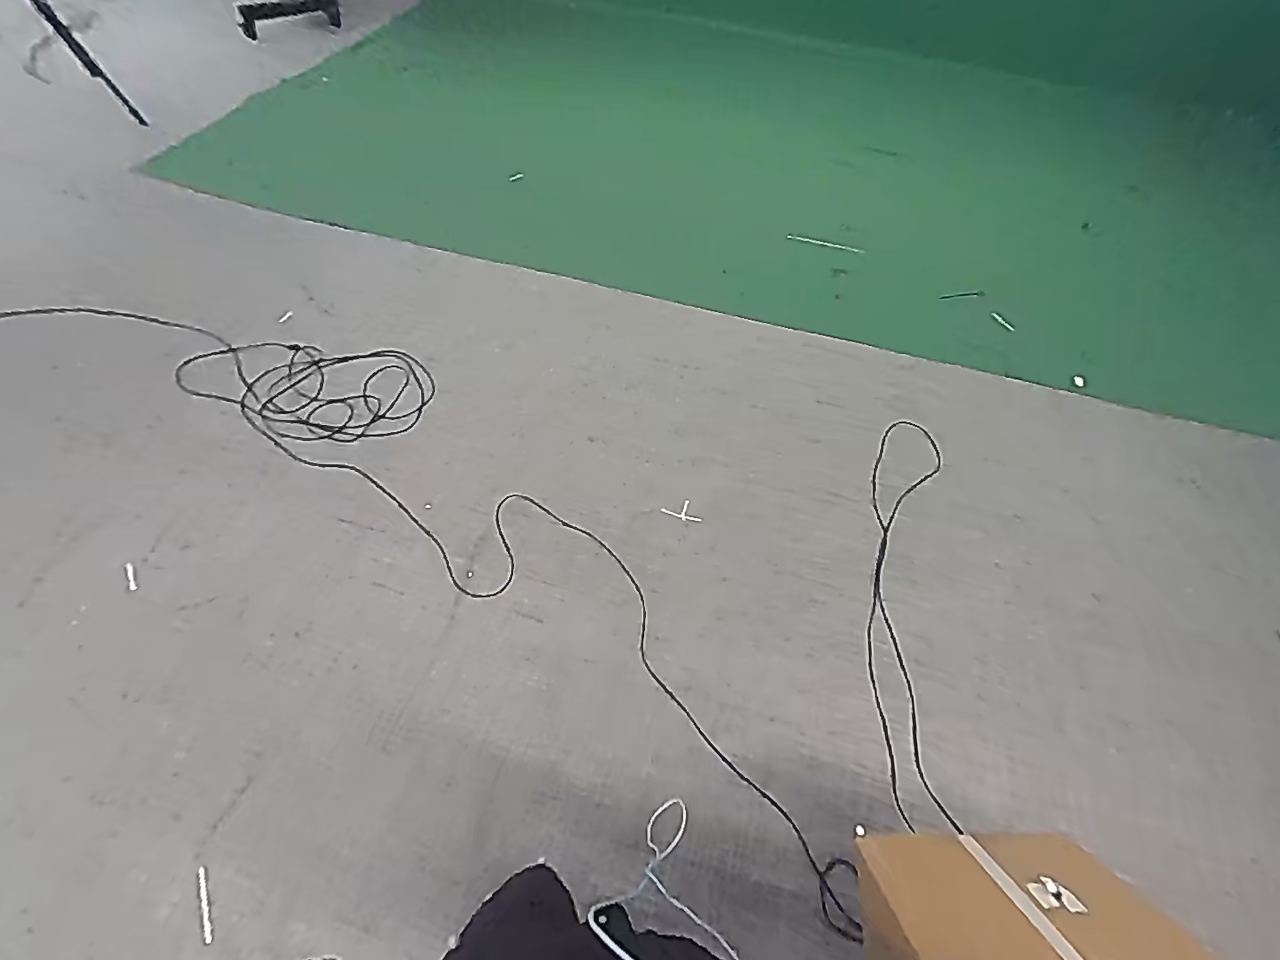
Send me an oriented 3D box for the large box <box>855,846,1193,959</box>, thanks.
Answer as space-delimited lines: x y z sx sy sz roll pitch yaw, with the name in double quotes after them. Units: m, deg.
0.472 0.690 0.603 0.320 0.408 0.320 -1 85 4 "large box"
